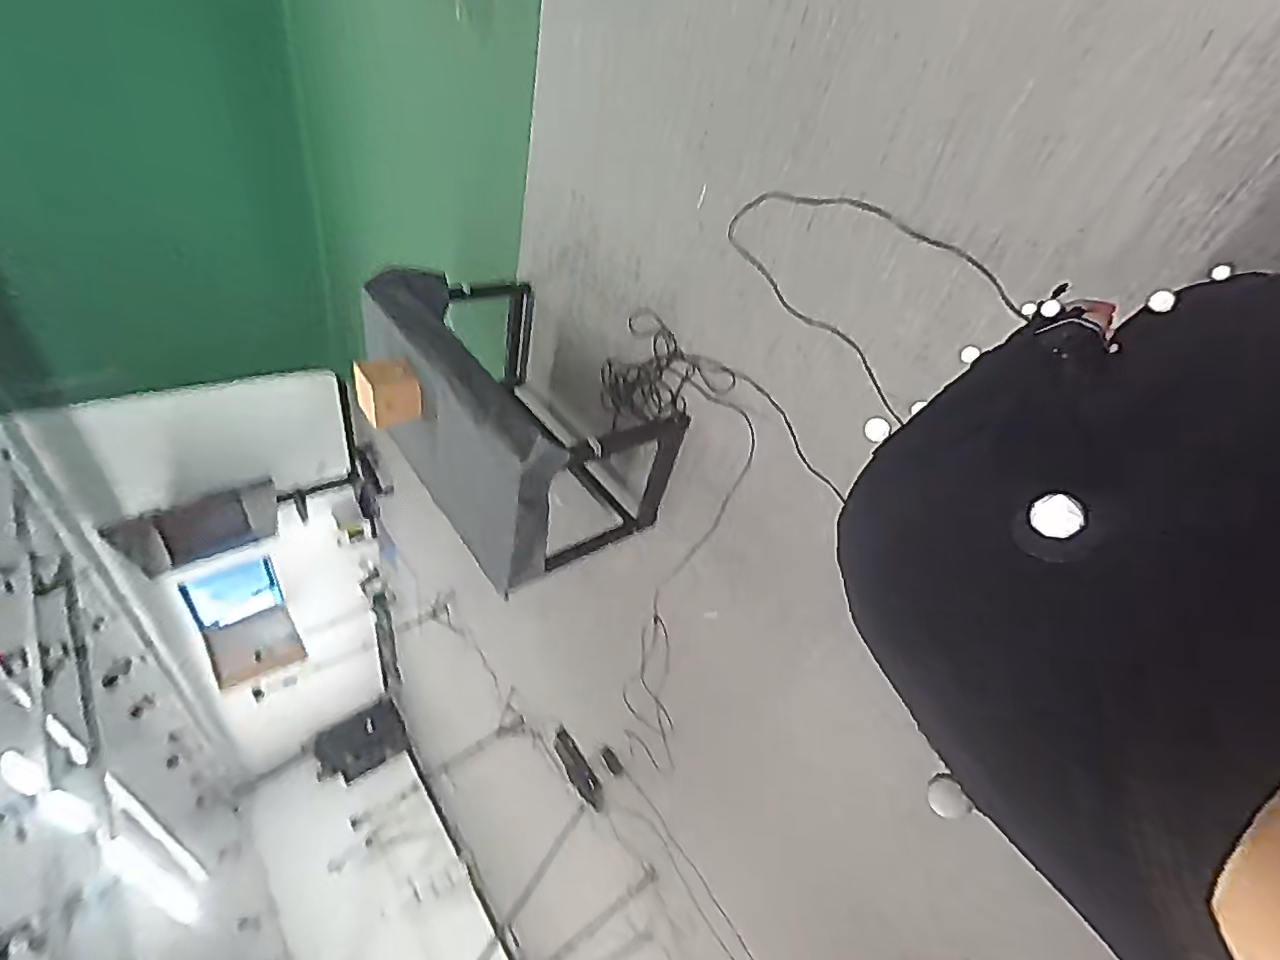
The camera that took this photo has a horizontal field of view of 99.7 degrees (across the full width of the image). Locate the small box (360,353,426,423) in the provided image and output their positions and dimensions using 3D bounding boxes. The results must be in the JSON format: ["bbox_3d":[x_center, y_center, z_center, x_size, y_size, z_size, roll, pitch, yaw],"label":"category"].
[{"bbox_3d":[-0.886,-0.337,1.950,0.168,0.176,0.179,45,137,27],"label":"small box"}]
